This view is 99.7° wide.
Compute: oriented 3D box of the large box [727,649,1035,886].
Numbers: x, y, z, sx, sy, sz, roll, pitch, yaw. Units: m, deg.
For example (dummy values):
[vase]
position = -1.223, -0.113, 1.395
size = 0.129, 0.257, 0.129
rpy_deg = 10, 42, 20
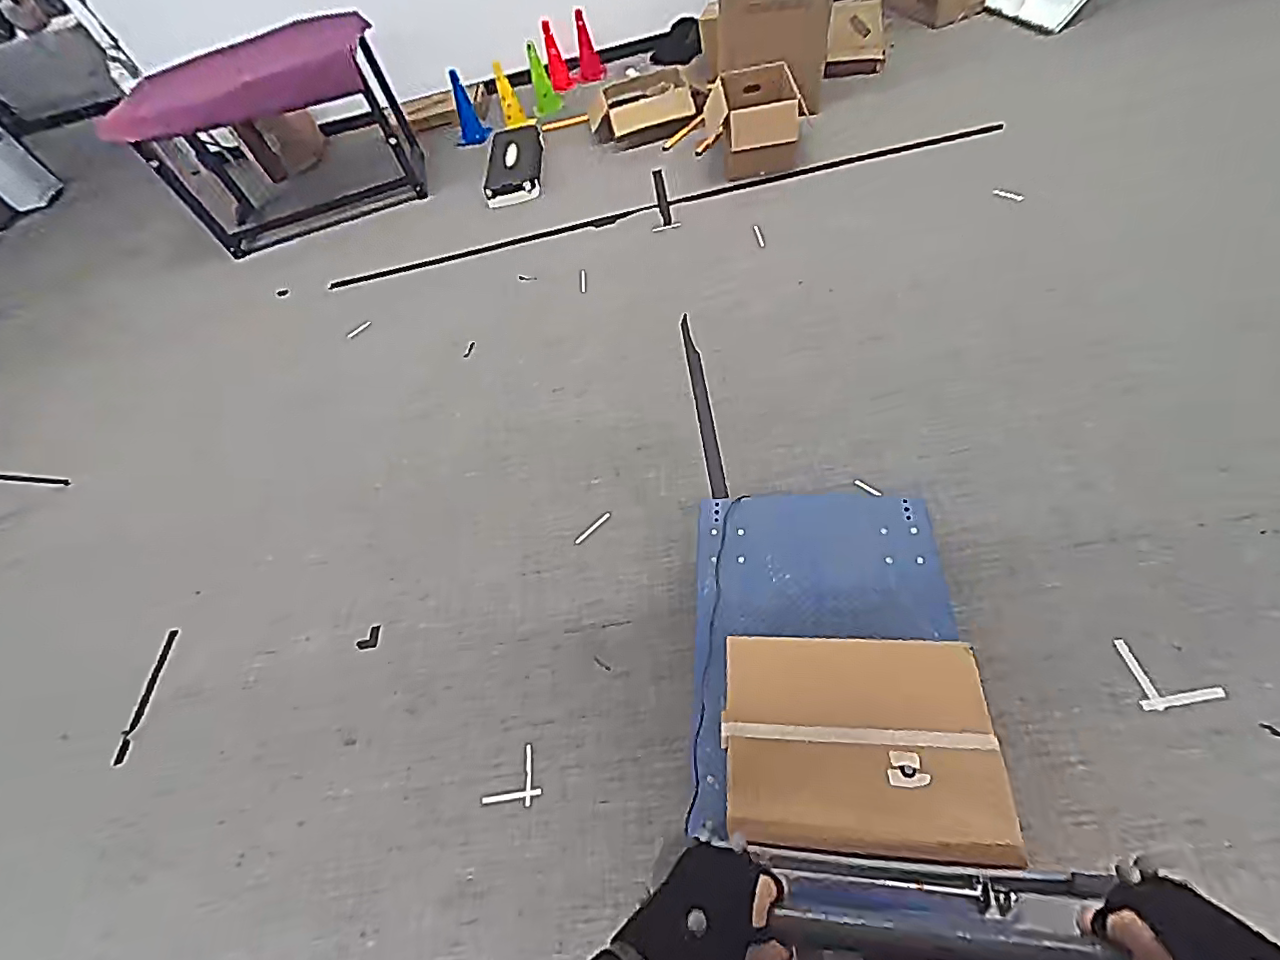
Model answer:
[large box]
position = 0.363, 0.504, 0.951
size = 0.408, 0.320, 0.320
rpy_deg = -2, 55, 11
